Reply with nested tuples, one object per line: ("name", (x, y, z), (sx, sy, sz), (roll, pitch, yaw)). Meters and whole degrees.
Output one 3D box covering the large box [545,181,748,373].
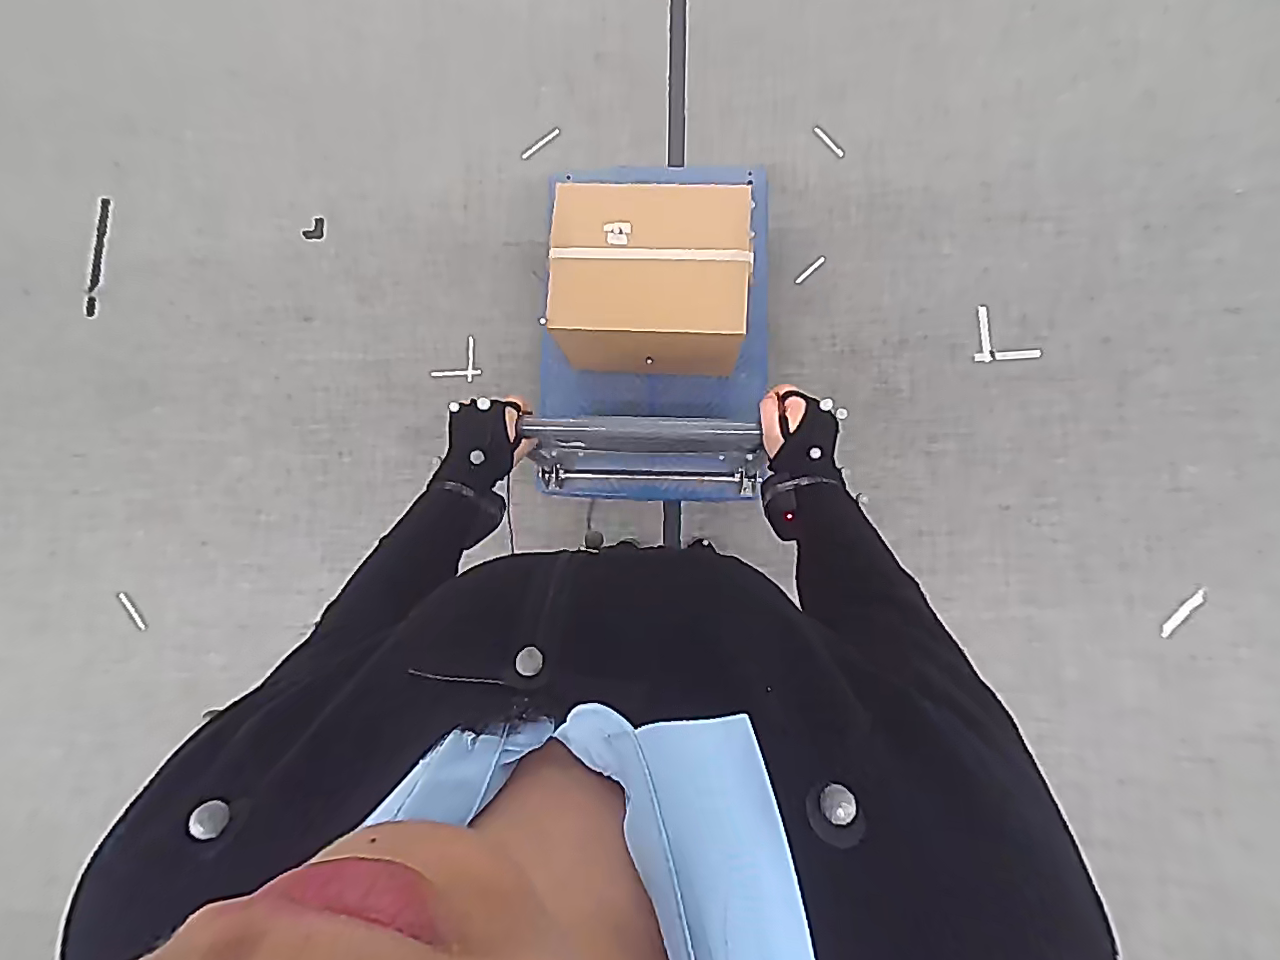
("large box", (0.029, -0.435, 1.226), (0.408, 0.320, 0.320), (3, 84, 6))
